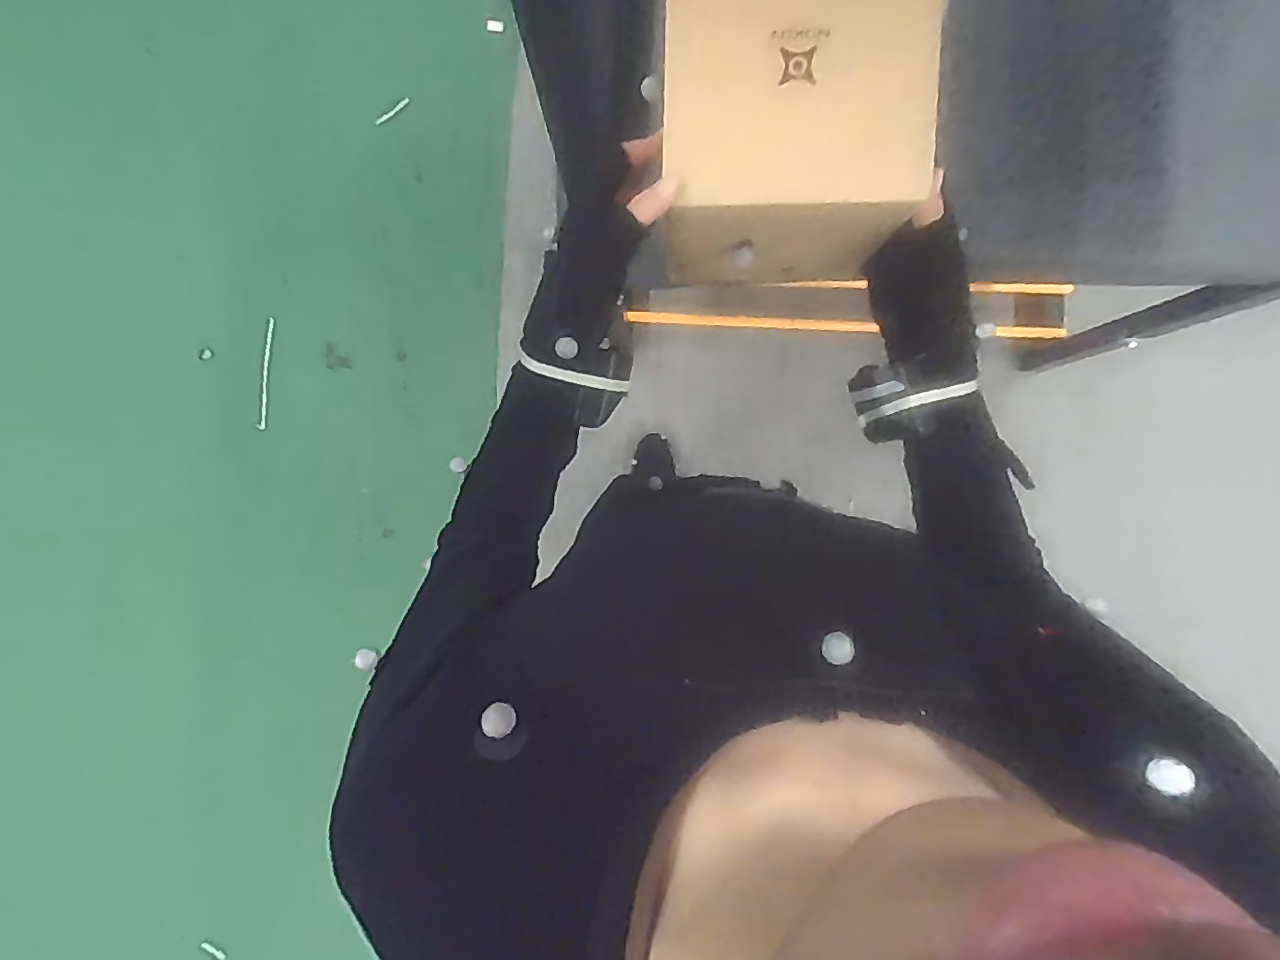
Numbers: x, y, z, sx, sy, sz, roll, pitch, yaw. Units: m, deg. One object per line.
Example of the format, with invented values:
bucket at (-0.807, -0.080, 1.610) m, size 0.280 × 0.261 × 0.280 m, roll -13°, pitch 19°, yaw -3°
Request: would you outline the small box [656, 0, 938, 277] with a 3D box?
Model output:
small box at (0.102, -0.262, 0.407) m, size 0.168 × 0.176 × 0.179 m, roll 1°, pitch 93°, yaw 5°
